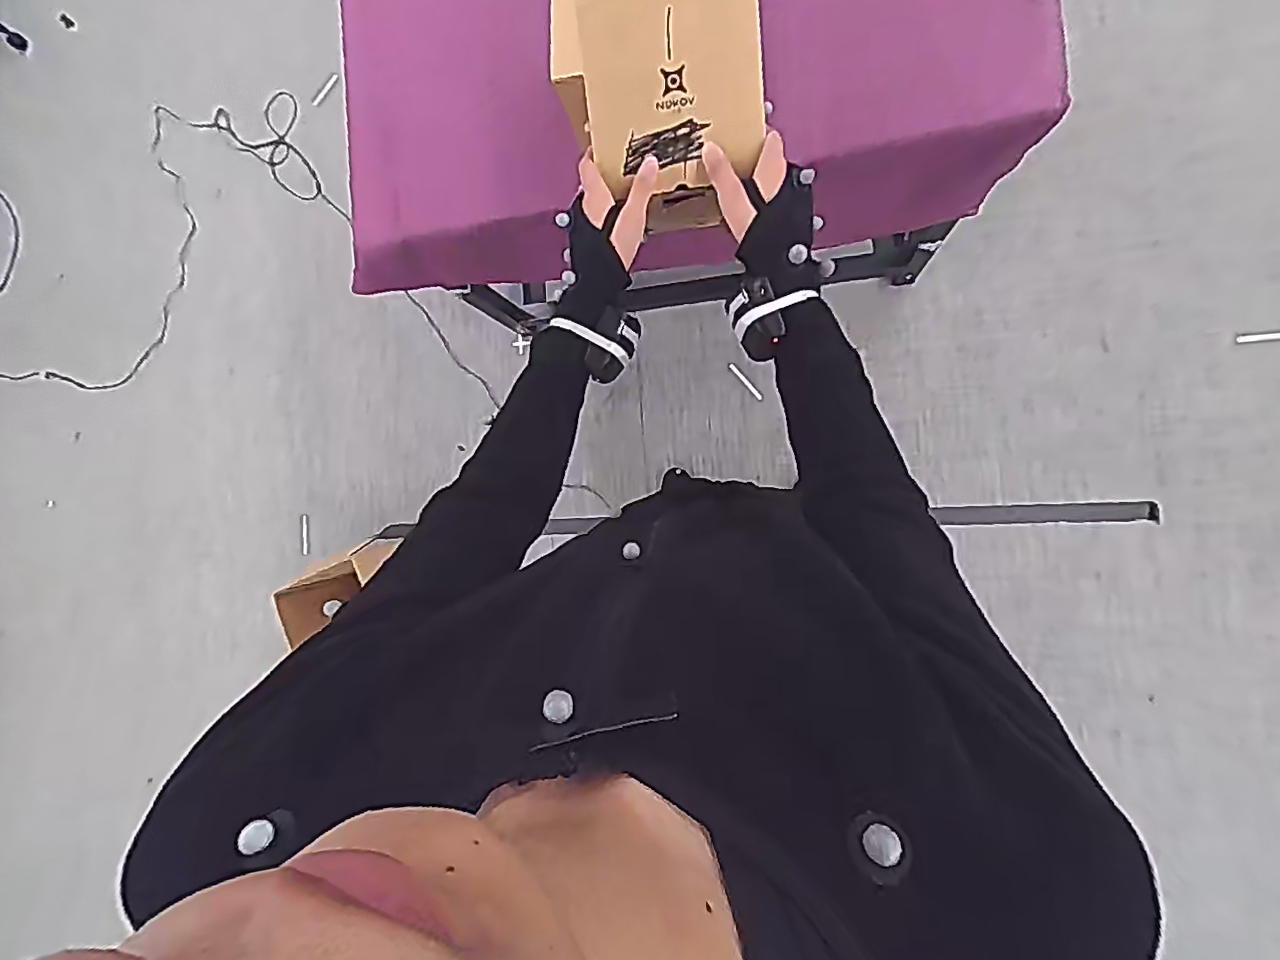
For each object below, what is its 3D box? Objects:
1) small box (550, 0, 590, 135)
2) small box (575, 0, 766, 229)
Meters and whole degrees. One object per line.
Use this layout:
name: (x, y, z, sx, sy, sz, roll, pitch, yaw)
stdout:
small box: (-0.034, -0.672, 0.852, 0.168, 0.176, 0.179, 0, 89, 12)
small box: (0.038, -0.380, 0.575, 0.168, 0.176, 0.179, -6, 102, 6)
